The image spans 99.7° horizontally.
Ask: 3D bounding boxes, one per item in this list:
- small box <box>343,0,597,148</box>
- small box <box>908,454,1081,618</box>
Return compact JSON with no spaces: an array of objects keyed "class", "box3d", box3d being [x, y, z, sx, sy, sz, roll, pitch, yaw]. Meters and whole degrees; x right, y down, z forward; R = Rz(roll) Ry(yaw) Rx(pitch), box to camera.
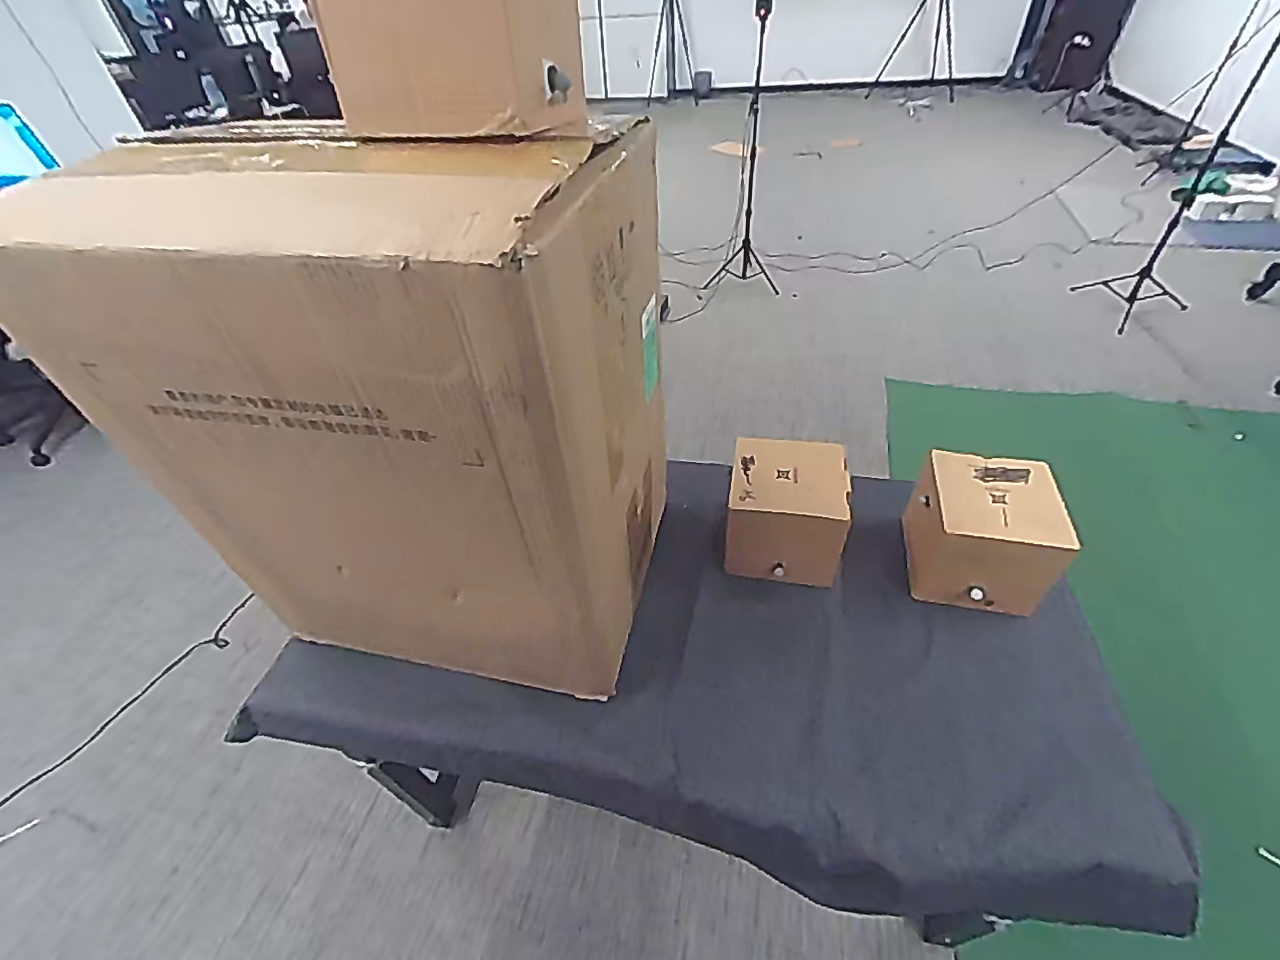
[{"class":"small box","box3d":[-0.148,-0.410,0.494,0.179,0.176,0.168,8,40,11]},{"class":"small box","box3d":[0.531,0.085,0.844,0.168,0.176,0.179,7,46,13]}]
